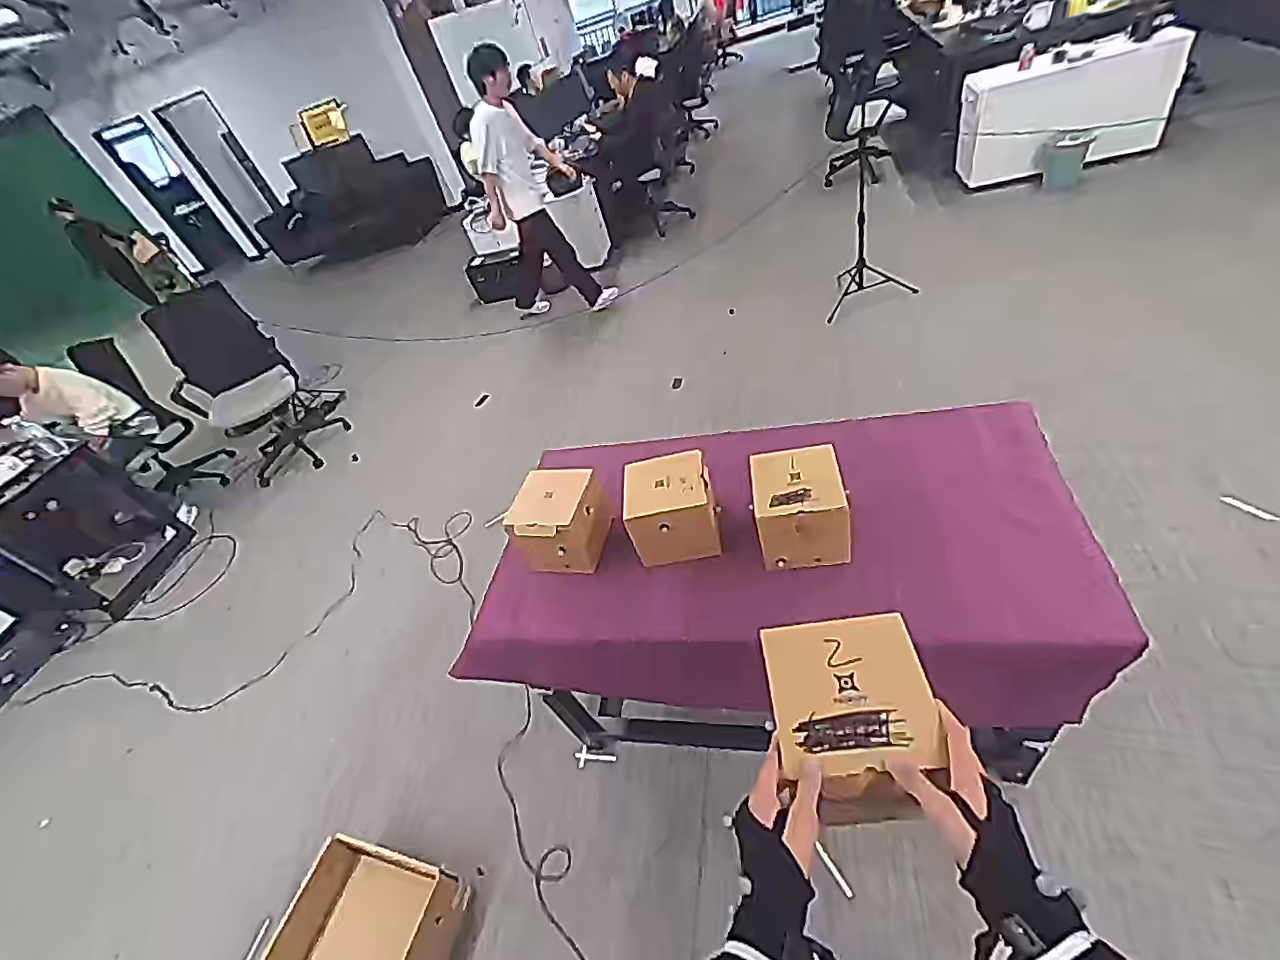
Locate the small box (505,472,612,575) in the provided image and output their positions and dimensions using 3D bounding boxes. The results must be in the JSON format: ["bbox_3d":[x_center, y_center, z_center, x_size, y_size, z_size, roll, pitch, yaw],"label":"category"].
[{"bbox_3d":[-0.178,0.102,1.251,0.168,0.176,0.179,-1,45,21],"label":"small box"}]

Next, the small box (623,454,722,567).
[{"bbox_3d":[0.072,0.071,1.180,0.179,0.176,0.168,-11,43,11],"label":"small box"}]

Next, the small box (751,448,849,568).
[{"bbox_3d":[0.321,0.063,1.088,0.168,0.176,0.179,-8,42,14],"label":"small box"}]
